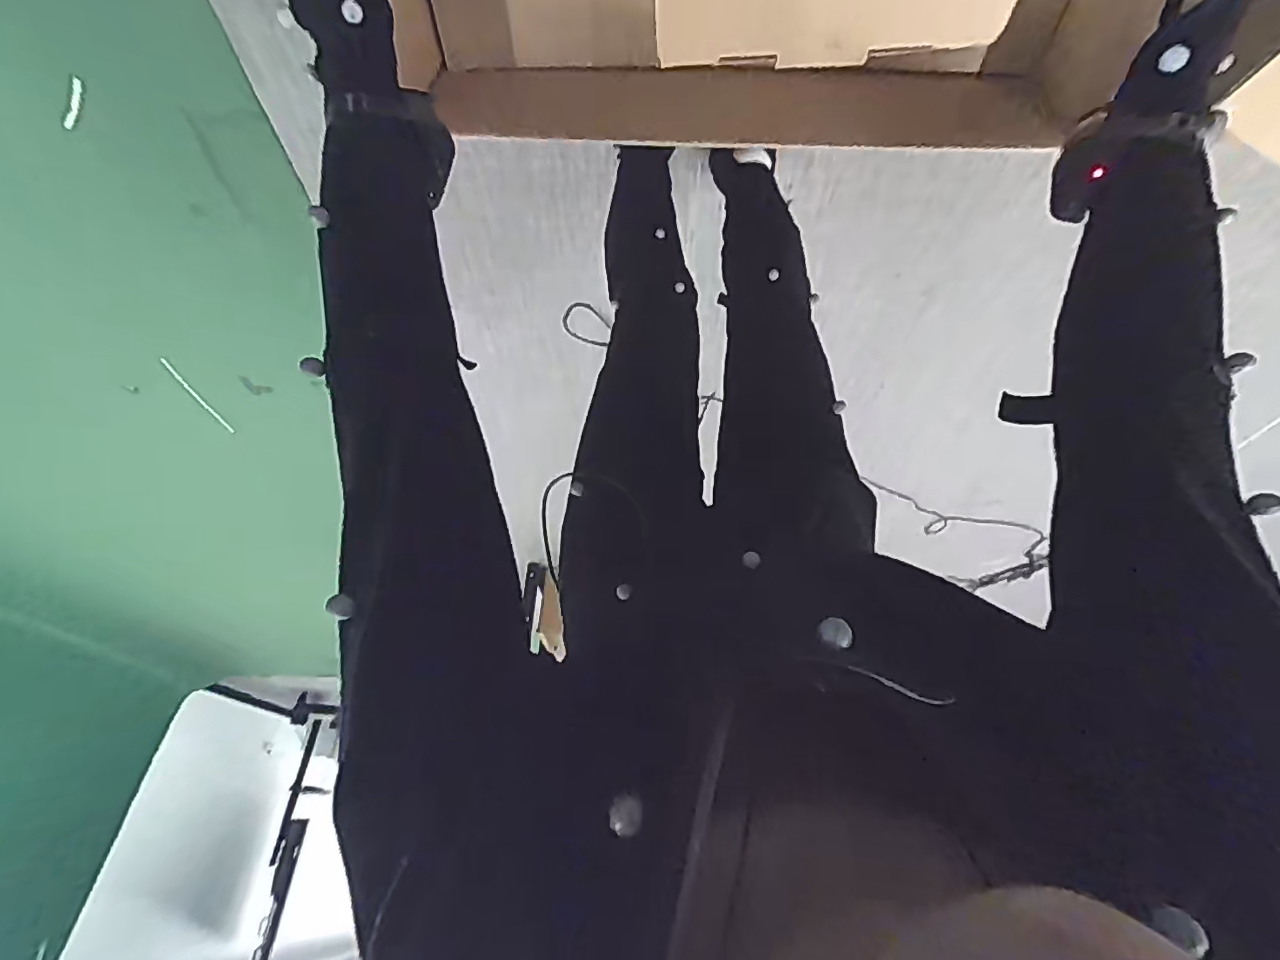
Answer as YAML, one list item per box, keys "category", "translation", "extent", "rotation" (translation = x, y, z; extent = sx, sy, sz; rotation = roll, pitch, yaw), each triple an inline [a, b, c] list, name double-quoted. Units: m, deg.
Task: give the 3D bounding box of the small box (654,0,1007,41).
- category: "small box"
  translation: [0.087, -0.331, 0.231]
  extent: [0.168, 0.176, 0.179]
  rotation: [-1, 148, 4]
